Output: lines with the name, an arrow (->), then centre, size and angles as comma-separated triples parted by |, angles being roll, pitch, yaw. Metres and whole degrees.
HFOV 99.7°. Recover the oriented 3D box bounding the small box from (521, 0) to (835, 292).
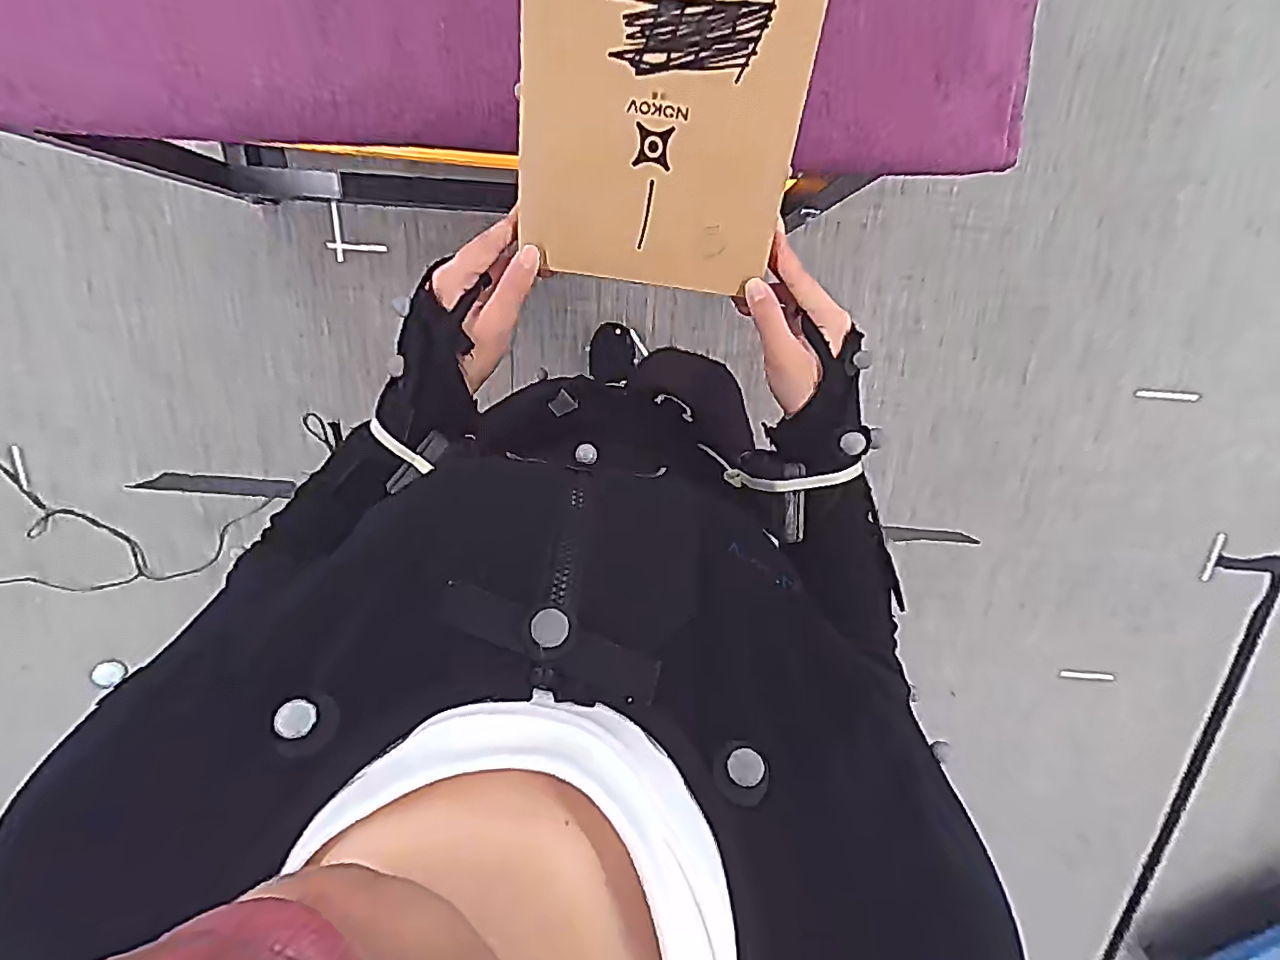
small box -> 0.017, -0.249, 0.387 | 0.168, 0.176, 0.179 | 8, 118, -1
